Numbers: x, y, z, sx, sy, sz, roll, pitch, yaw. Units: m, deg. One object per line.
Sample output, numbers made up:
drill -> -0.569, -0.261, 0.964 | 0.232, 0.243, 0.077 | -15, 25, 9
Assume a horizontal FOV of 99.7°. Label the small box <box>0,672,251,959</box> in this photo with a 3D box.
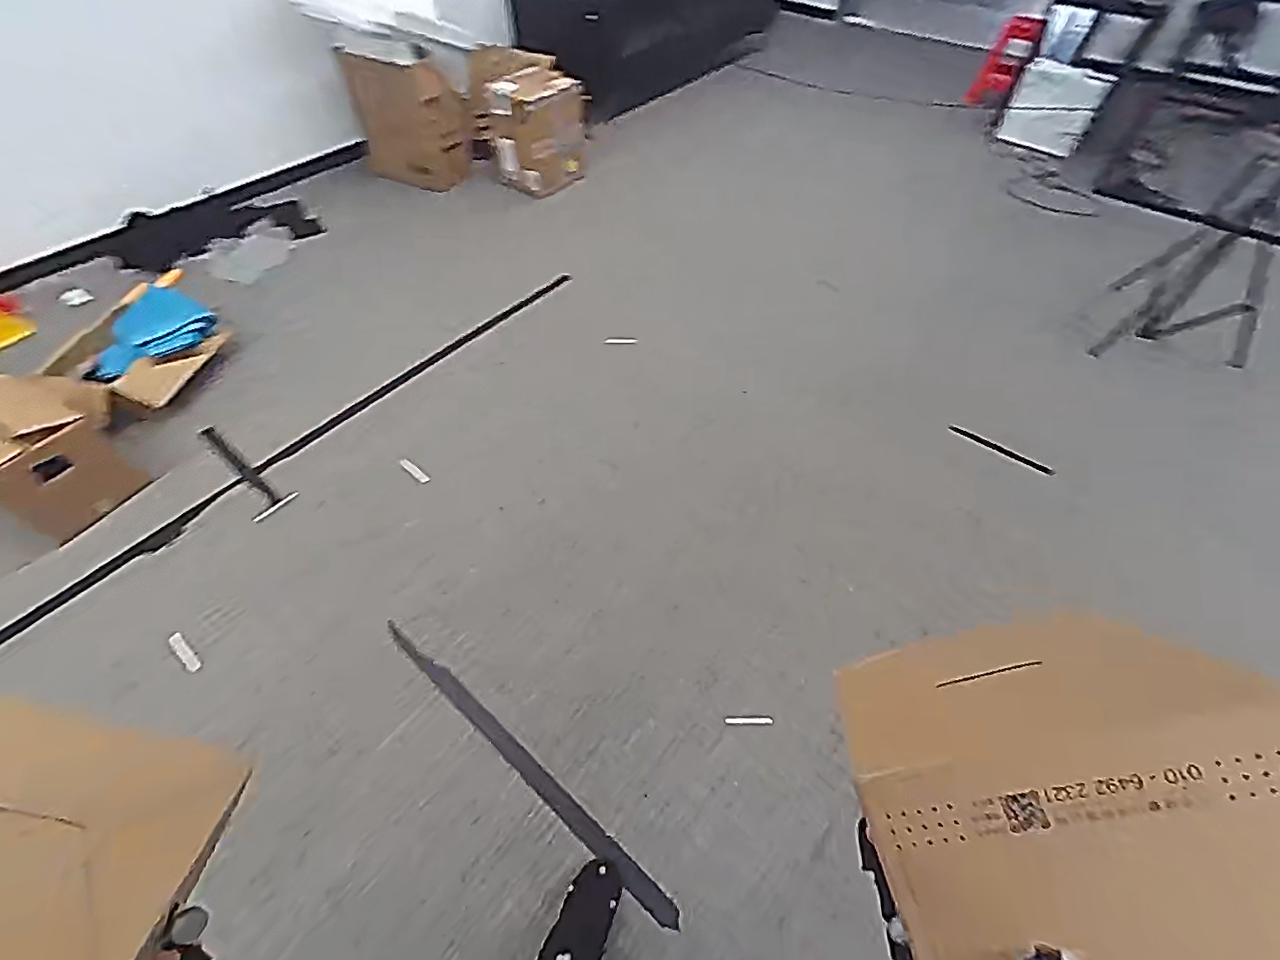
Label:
small box -> -0.321, 0.210, 0.238 | 0.168, 0.179, 0.176 | 28, 84, -18
